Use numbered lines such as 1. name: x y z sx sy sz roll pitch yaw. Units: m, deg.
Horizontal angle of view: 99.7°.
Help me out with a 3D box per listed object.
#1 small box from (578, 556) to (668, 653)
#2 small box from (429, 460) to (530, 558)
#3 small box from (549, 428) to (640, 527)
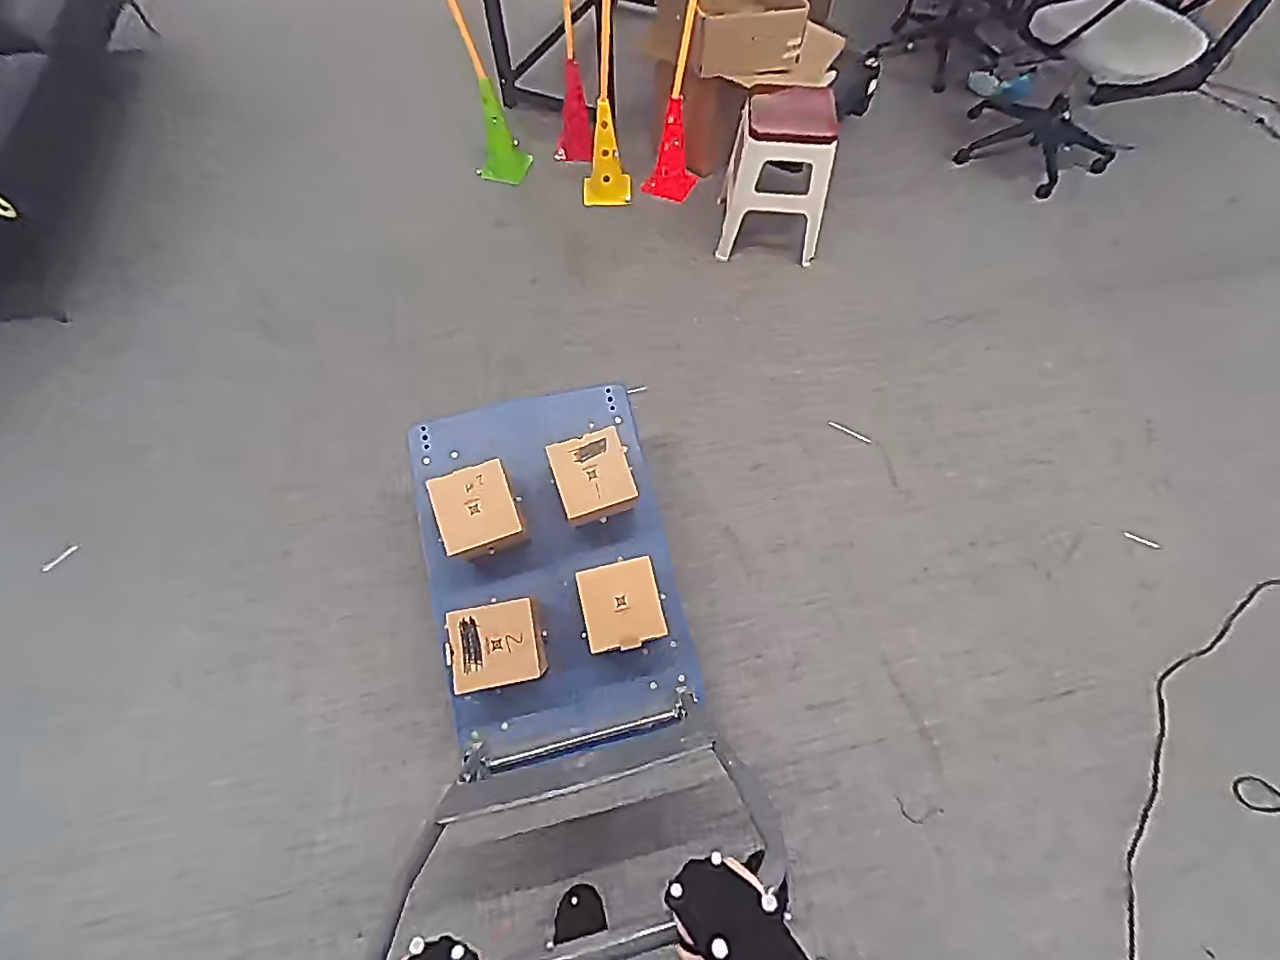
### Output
1. small box: -0.043 0.281 1.227 0.168 0.176 0.179 -13 80 -7
2. small box: -0.362 0.075 1.247 0.168 0.176 0.179 -18 80 -9
3. small box: -0.109 0.000 1.282 0.168 0.176 0.179 -18 80 -7
